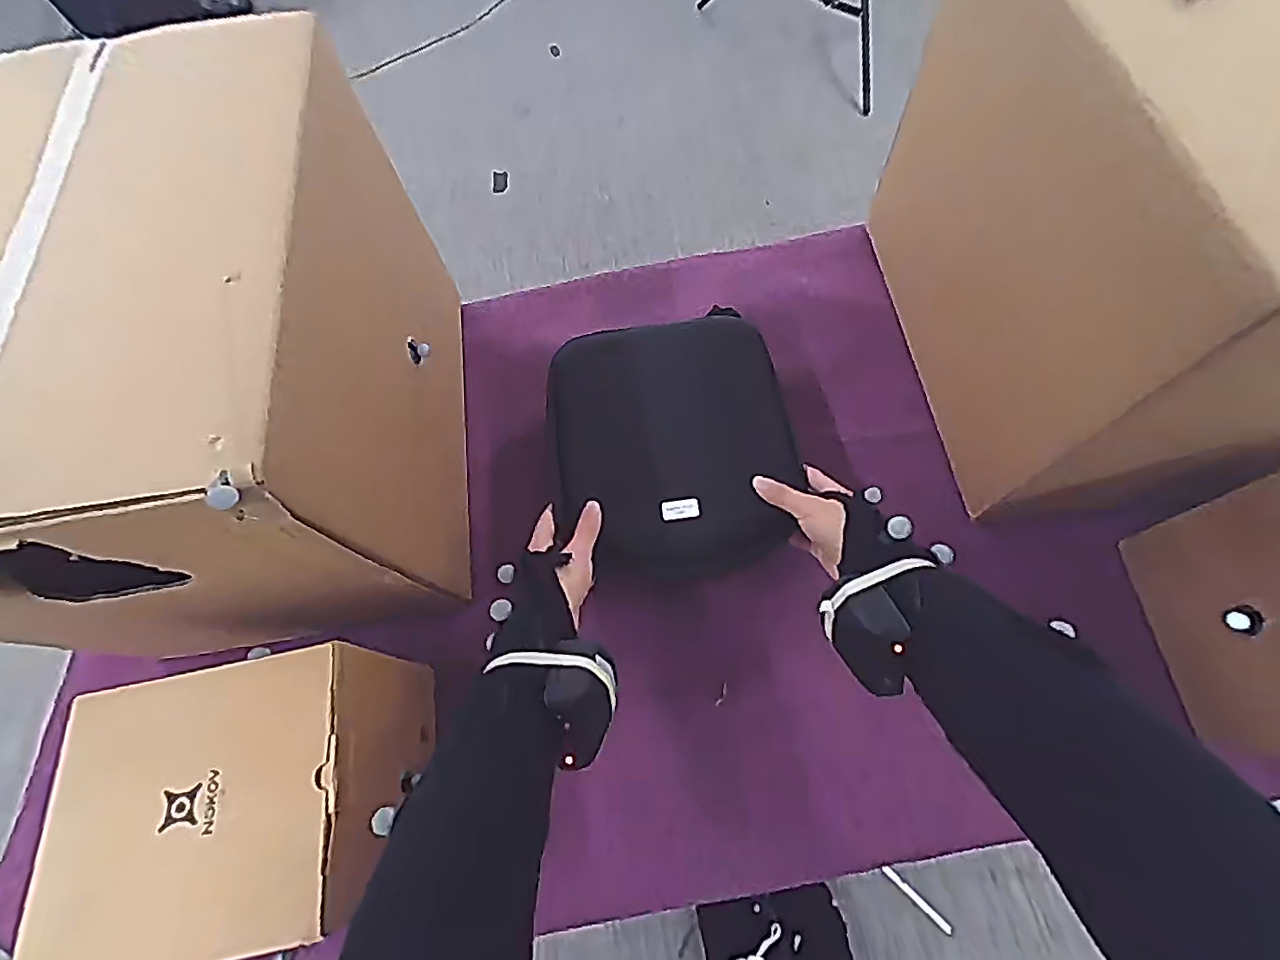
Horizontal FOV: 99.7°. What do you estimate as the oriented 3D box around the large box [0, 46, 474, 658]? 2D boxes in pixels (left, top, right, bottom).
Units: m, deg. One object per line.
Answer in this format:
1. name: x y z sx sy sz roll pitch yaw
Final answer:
1. large box: -0.359 -0.081 0.487 0.320 0.320 0.408 -11 68 0
